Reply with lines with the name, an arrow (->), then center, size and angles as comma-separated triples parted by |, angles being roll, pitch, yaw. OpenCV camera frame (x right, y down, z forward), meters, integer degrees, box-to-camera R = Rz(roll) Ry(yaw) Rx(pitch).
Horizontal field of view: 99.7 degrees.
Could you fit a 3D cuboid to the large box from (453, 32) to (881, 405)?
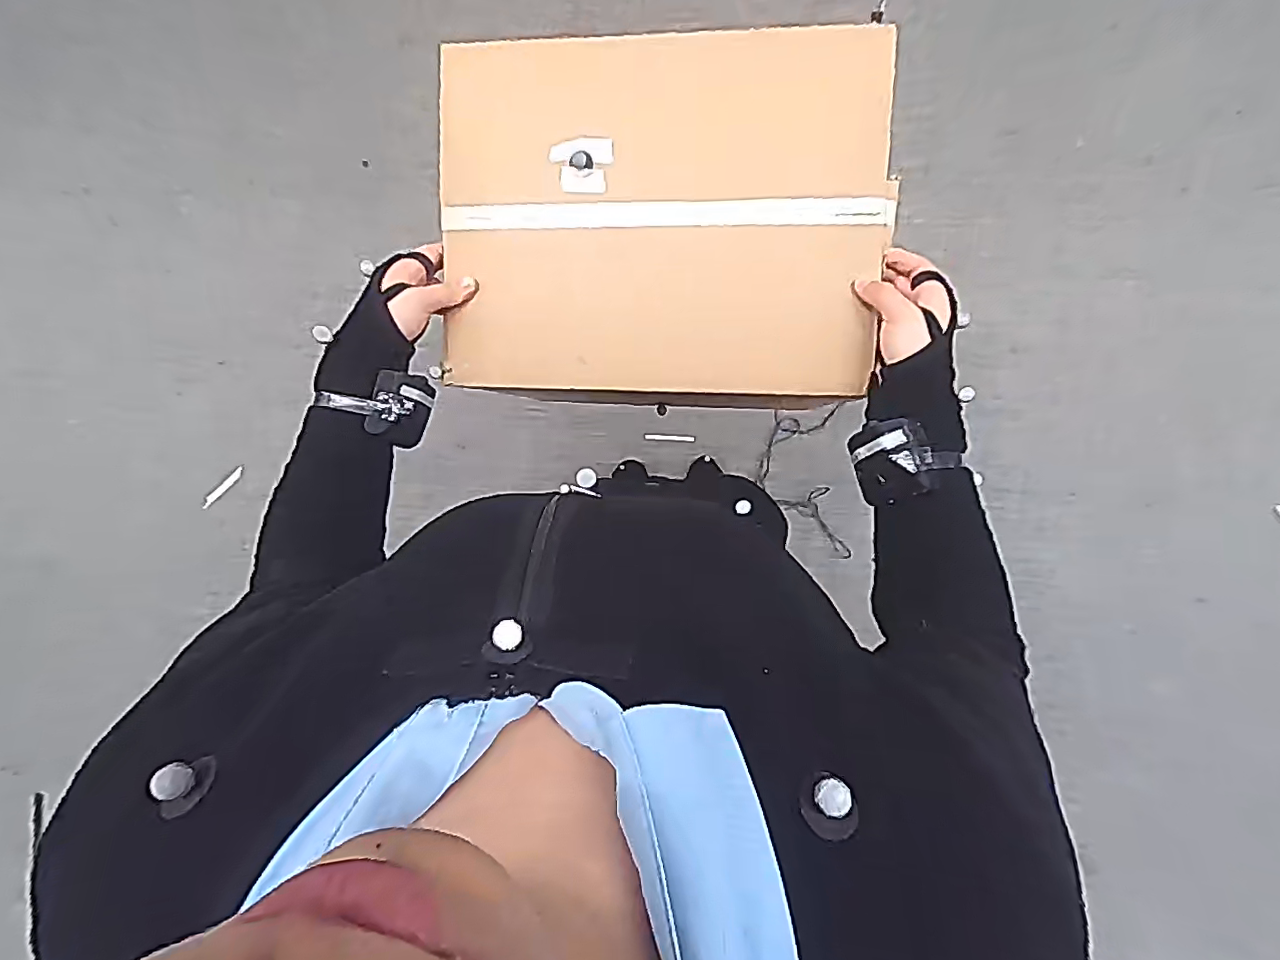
large box -> 0.035, -0.252, 0.653 | 0.408, 0.320, 0.320 | 2, 94, 8
